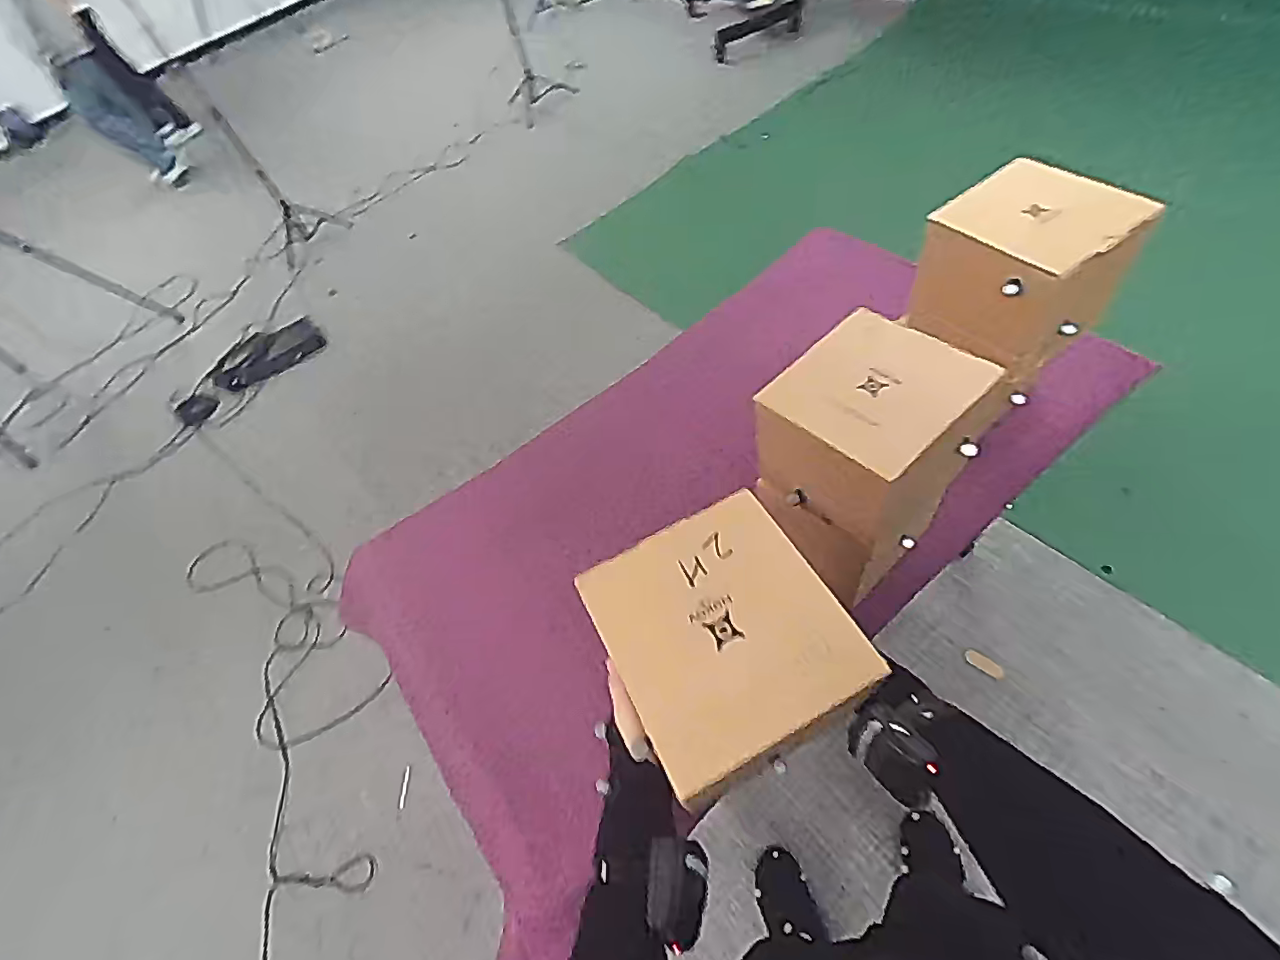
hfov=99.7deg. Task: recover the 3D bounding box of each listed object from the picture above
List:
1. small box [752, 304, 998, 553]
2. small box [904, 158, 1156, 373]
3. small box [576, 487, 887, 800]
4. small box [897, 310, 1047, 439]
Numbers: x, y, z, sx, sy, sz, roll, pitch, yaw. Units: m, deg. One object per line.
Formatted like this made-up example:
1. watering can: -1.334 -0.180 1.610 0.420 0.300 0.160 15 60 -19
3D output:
1. small box: 0.245 -0.055 0.602 0.179 0.176 0.168 -40 54 -13
2. small box: 0.474 -0.271 0.694 0.168 0.176 0.179 -34 55 -9
3. small box: 0.069 0.145 0.457 0.168 0.176 0.179 -26 55 -8
4. small box: 0.507 -0.199 0.838 0.179 0.176 0.168 -40 55 -14
